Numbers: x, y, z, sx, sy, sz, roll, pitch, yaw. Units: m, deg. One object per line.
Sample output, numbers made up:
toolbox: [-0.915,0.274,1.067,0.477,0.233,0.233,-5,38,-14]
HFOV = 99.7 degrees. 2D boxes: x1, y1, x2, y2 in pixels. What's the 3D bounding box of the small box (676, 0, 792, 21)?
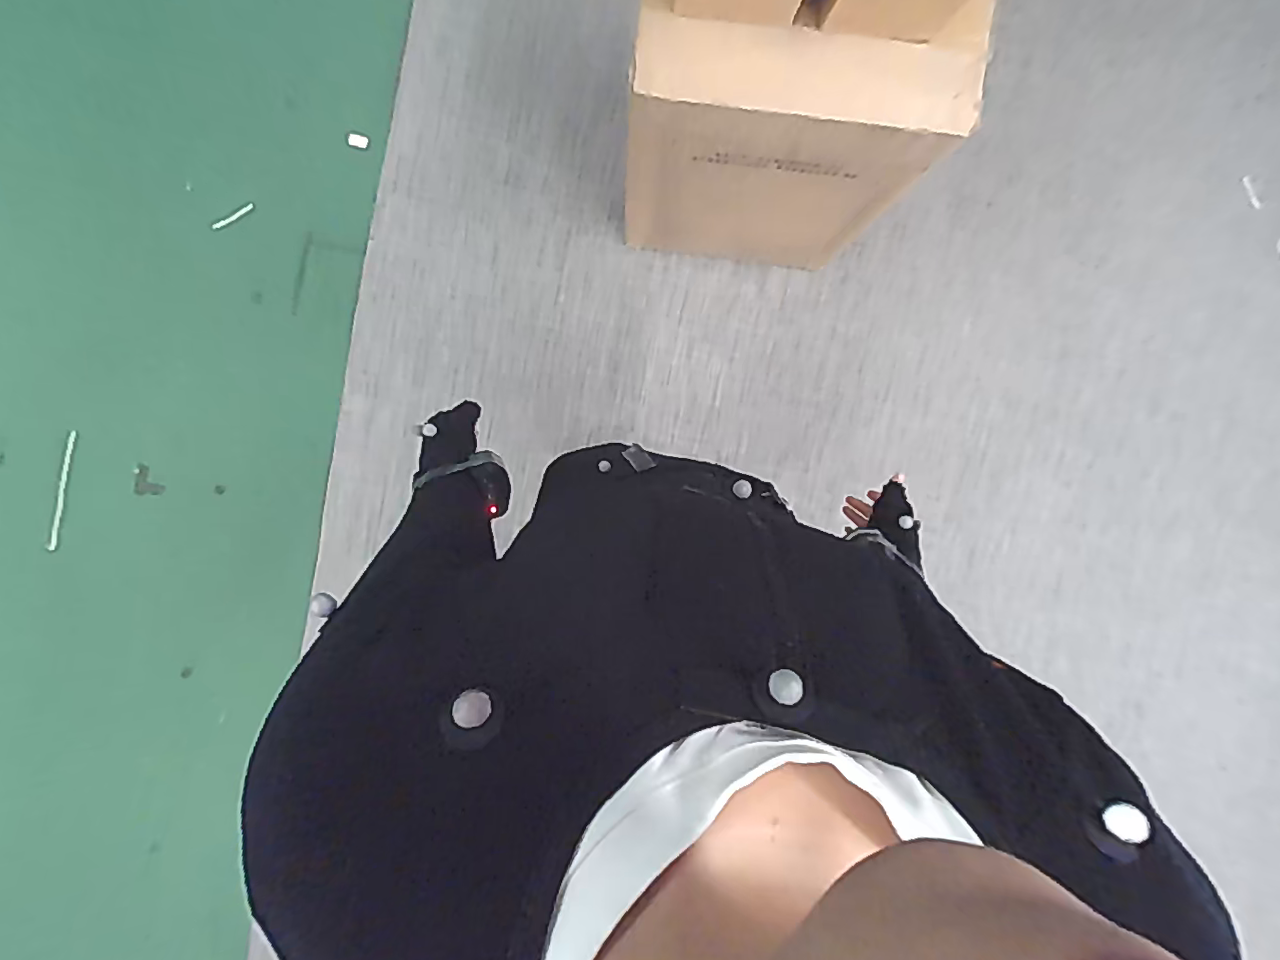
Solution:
small box: [0.142,-0.749,0.704,0.179,0.176,0.168,4,97,-4]
